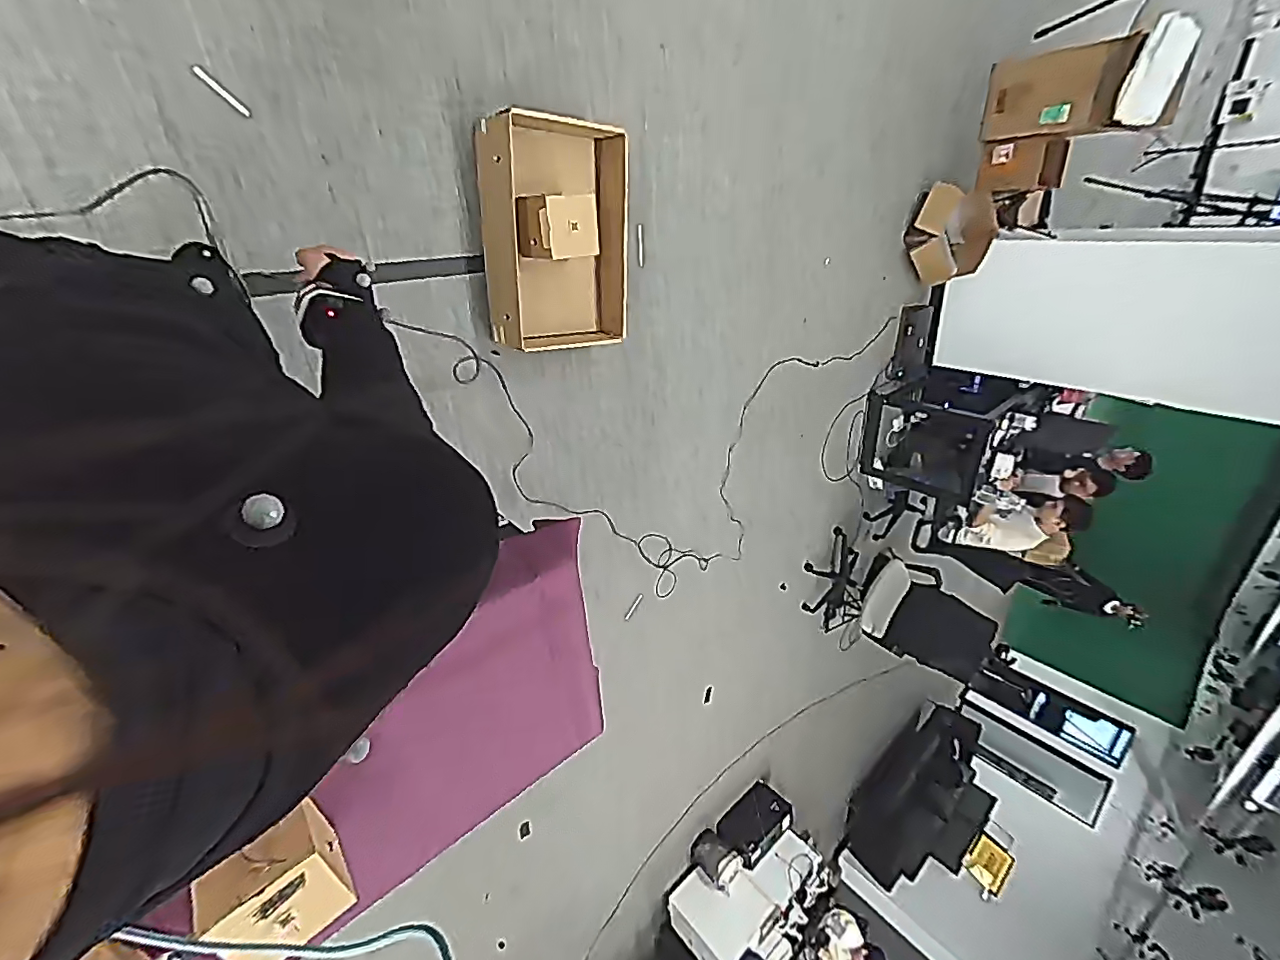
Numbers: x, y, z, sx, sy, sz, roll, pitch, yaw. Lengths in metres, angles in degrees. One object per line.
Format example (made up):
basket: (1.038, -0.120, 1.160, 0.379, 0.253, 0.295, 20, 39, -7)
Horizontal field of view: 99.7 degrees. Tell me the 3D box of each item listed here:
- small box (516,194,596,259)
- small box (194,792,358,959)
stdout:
small box: (-0.253, -0.752, 1.606, 0.179, 0.176, 0.168, -23, 125, -35)
small box: (-0.616, 0.674, 0.917, 0.168, 0.176, 0.179, -29, 127, -31)
